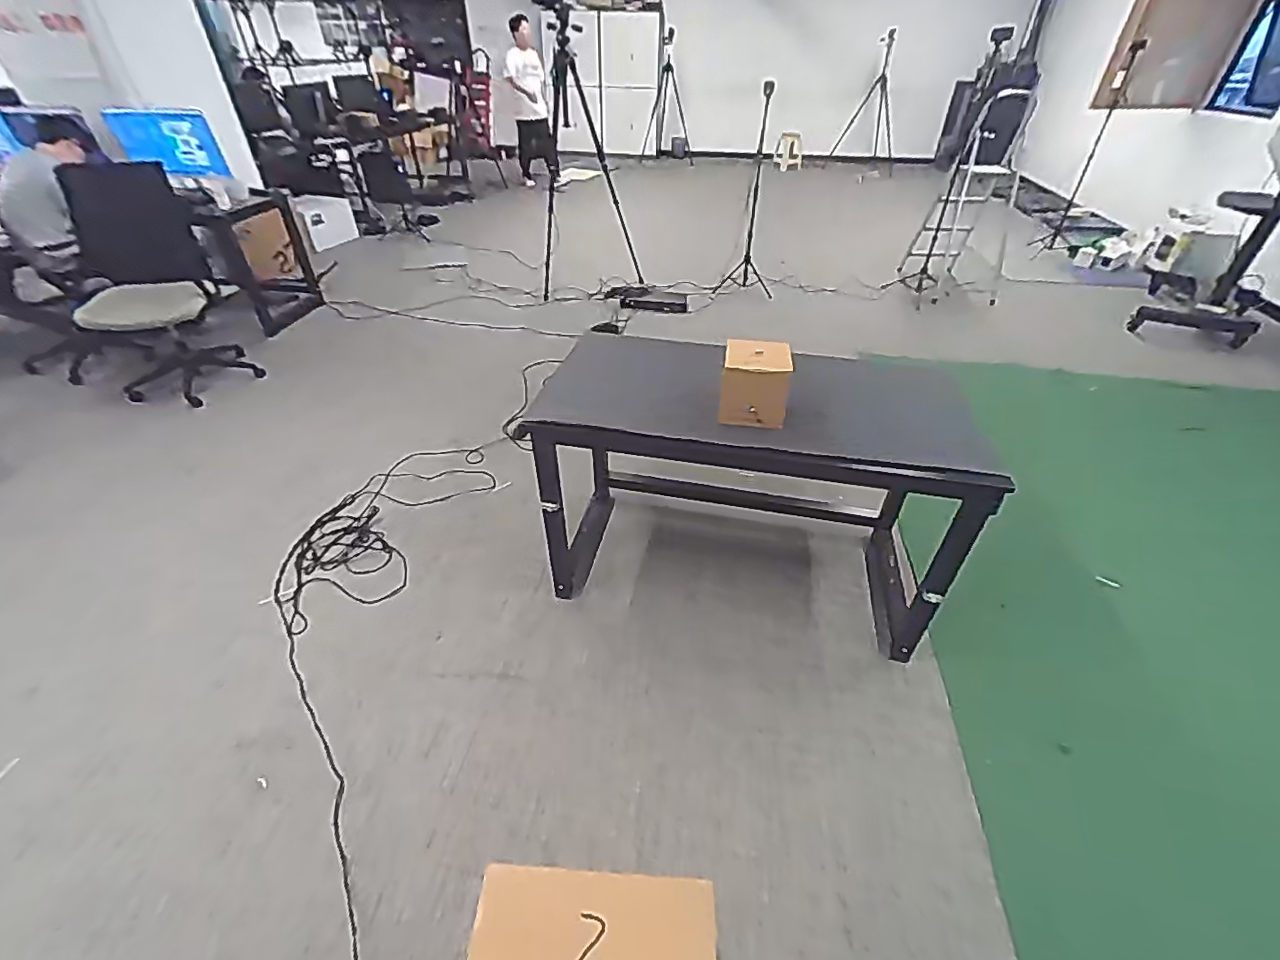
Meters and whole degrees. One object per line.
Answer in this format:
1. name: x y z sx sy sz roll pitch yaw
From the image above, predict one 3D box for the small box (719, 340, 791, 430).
1. small box: 0.301 -0.255 1.438 0.168 0.176 0.179 5 38 7
